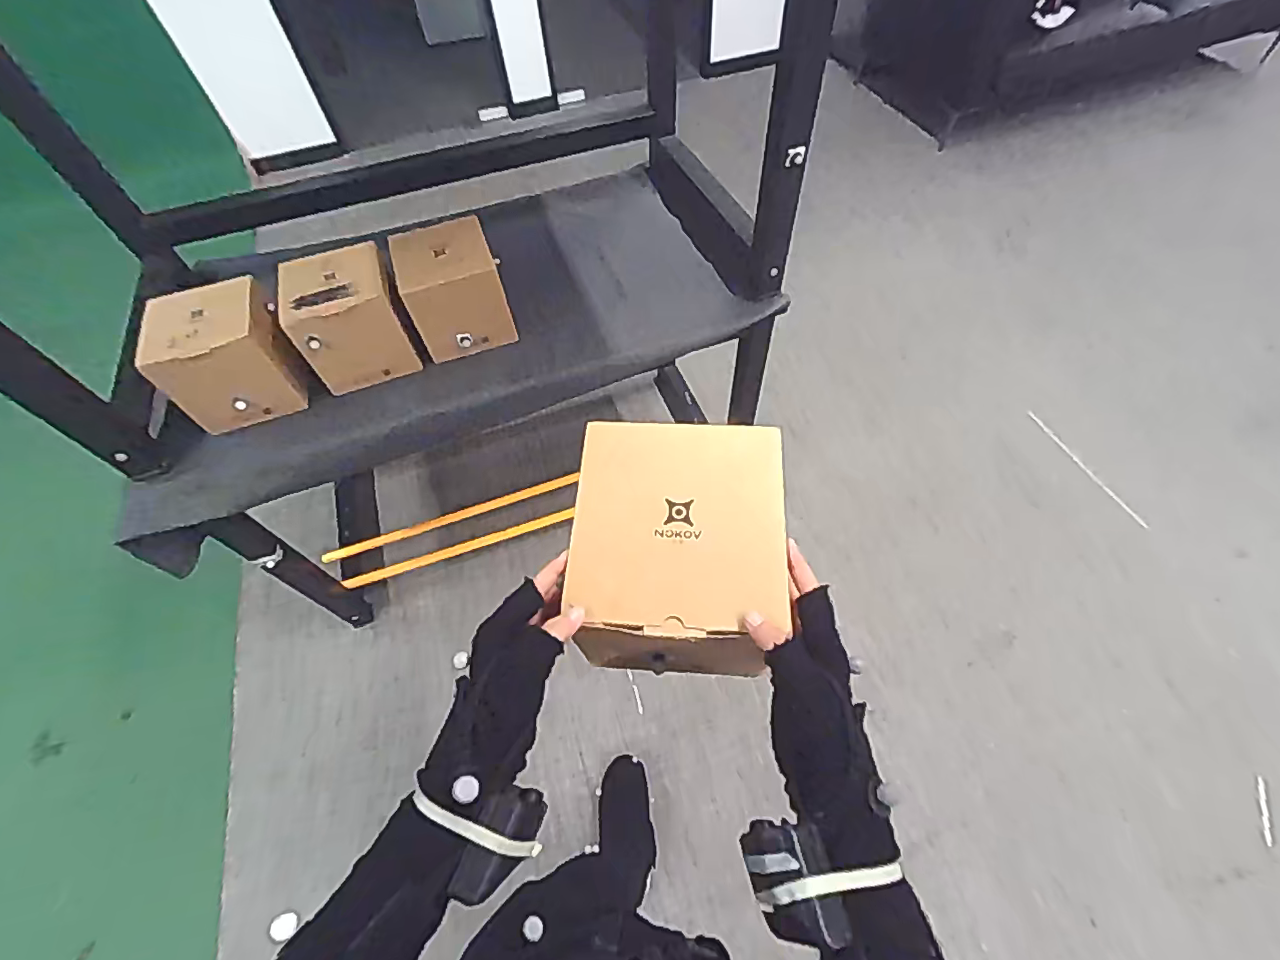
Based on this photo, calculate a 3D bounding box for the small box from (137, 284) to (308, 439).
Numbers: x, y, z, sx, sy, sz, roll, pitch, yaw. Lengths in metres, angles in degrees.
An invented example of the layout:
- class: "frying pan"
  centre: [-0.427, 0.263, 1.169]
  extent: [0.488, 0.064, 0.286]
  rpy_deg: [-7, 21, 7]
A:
- class: "small box"
  centre: [-0.703, -0.201, 0.933]
  extent: [0.168, 0.176, 0.179]
  rpy_deg: [-20, 57, -10]
